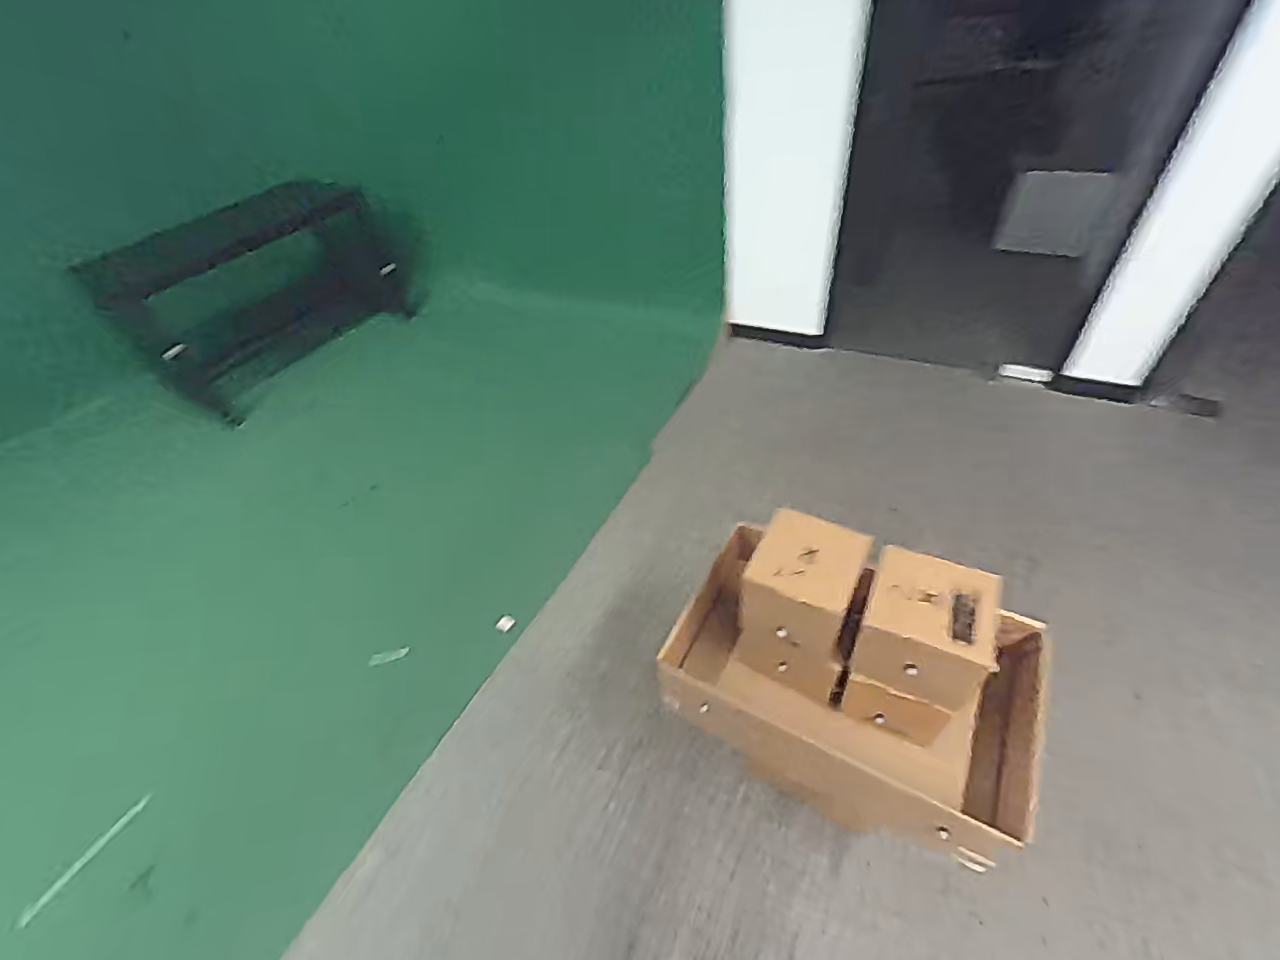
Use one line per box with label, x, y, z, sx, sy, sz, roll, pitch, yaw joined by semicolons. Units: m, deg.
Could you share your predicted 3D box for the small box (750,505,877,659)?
small box;0.303;0.182;0.971;0.168;0.176;0.179;20;52;26
